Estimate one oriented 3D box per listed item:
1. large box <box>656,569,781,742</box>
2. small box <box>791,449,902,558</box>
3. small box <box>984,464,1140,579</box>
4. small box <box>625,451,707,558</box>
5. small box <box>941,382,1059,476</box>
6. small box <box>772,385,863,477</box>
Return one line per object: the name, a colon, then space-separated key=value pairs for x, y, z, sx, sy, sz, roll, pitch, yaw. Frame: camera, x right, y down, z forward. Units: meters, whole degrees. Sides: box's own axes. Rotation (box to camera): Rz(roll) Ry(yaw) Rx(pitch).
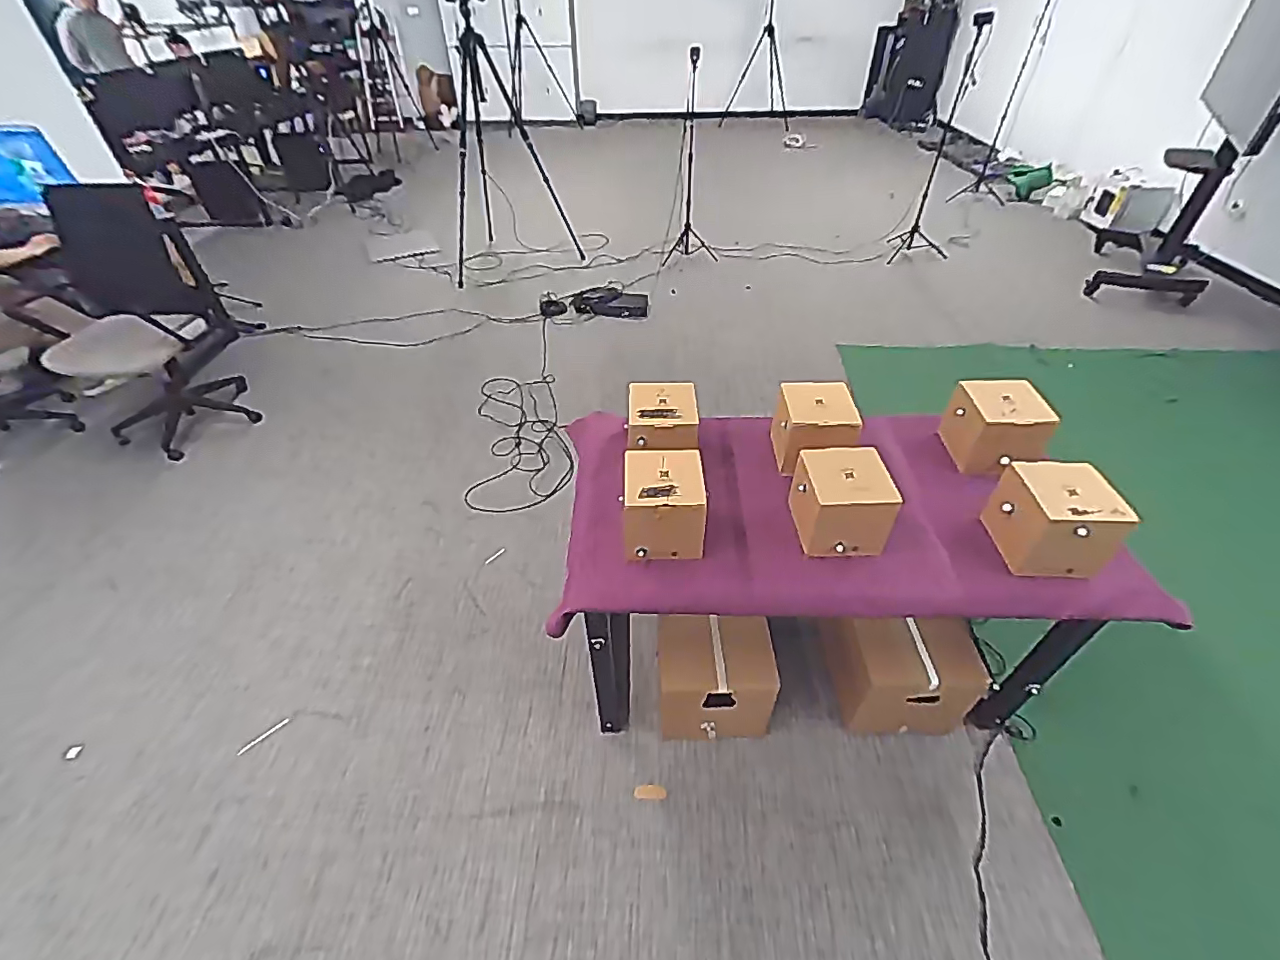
large box: x=0.212 y=0.528 z=1.644 sx=0.320 sy=0.320 sz=0.408 roll=-1 pitch=41 yaw=-1
small box: x=0.438 y=0.051 z=1.179 sx=0.168 sy=0.176 sz=0.179 roll=-2 pitch=42 yaw=1
small box: x=0.860 y=0.084 z=1.127 sx=0.168 sy=0.176 sz=0.179 roll=0 pitch=40 yaw=4
small box: x=0.054 y=0.057 z=1.181 sx=0.168 sy=0.176 sz=0.179 roll=-1 pitch=41 yaw=0
small box: x=0.888 y=-0.129 z=1.358 sx=0.168 sy=0.176 sz=0.179 roll=0 pitch=44 yaw=4
small box: x=0.440 y=-0.124 z=1.373 sx=0.168 sy=0.176 sz=0.179 roll=1 pitch=44 yaw=1
